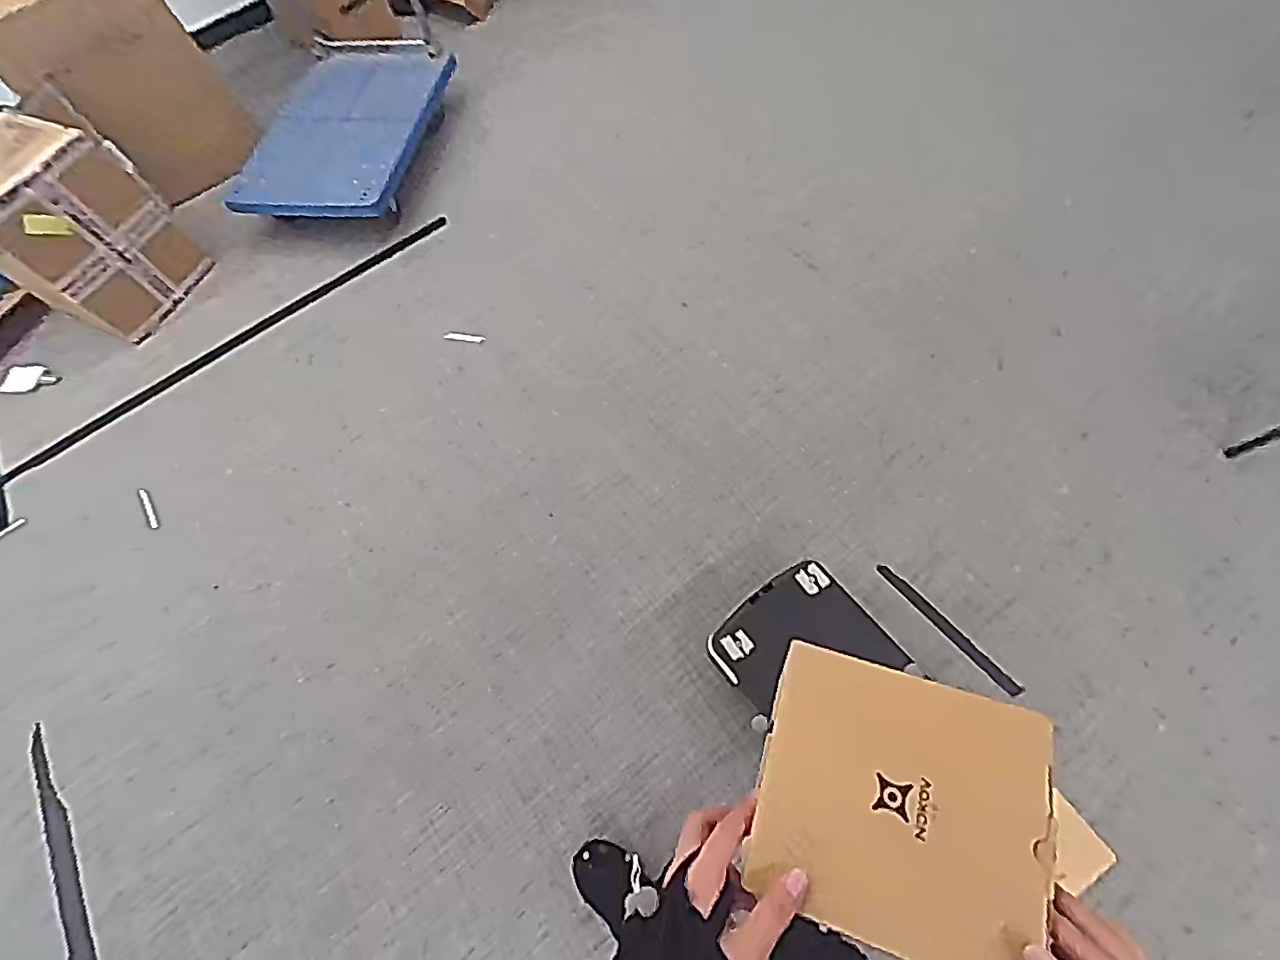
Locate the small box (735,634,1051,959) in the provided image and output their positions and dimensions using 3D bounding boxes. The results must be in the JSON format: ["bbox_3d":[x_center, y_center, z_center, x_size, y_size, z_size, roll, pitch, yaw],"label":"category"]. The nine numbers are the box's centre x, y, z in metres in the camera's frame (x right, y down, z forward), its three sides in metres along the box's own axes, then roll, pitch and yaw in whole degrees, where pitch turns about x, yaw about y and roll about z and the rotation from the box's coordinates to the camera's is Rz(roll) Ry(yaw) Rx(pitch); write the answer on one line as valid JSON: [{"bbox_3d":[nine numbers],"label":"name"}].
[{"bbox_3d":[0.179,0.242,0.420,0.179,0.176,0.168,14,64,16],"label":"small box"}]

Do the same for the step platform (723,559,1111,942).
[{"bbox_3d":[0.471,0.484,1.033,0.286,0.204,0.684,-36,66,-11],"label":"step platform"}]
